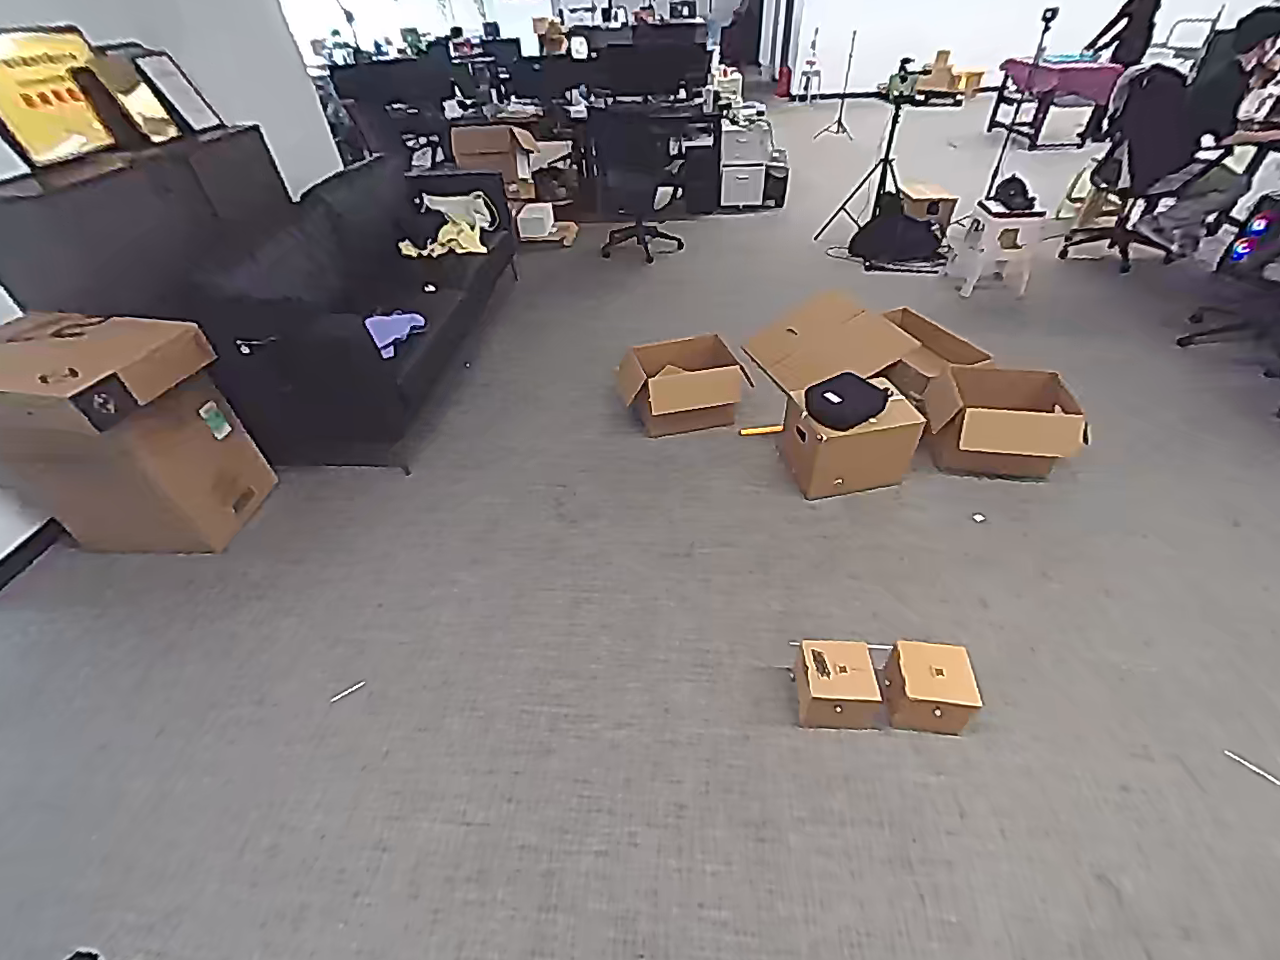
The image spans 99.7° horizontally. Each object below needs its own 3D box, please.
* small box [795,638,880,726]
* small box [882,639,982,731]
[{"bbox_3d":[0.523,0.547,1.460,0.179,0.176,0.168,1,42,5],"label":"small box"},{"bbox_3d":[0.767,0.548,1.440,0.179,0.176,0.168,3,43,10],"label":"small box"}]
